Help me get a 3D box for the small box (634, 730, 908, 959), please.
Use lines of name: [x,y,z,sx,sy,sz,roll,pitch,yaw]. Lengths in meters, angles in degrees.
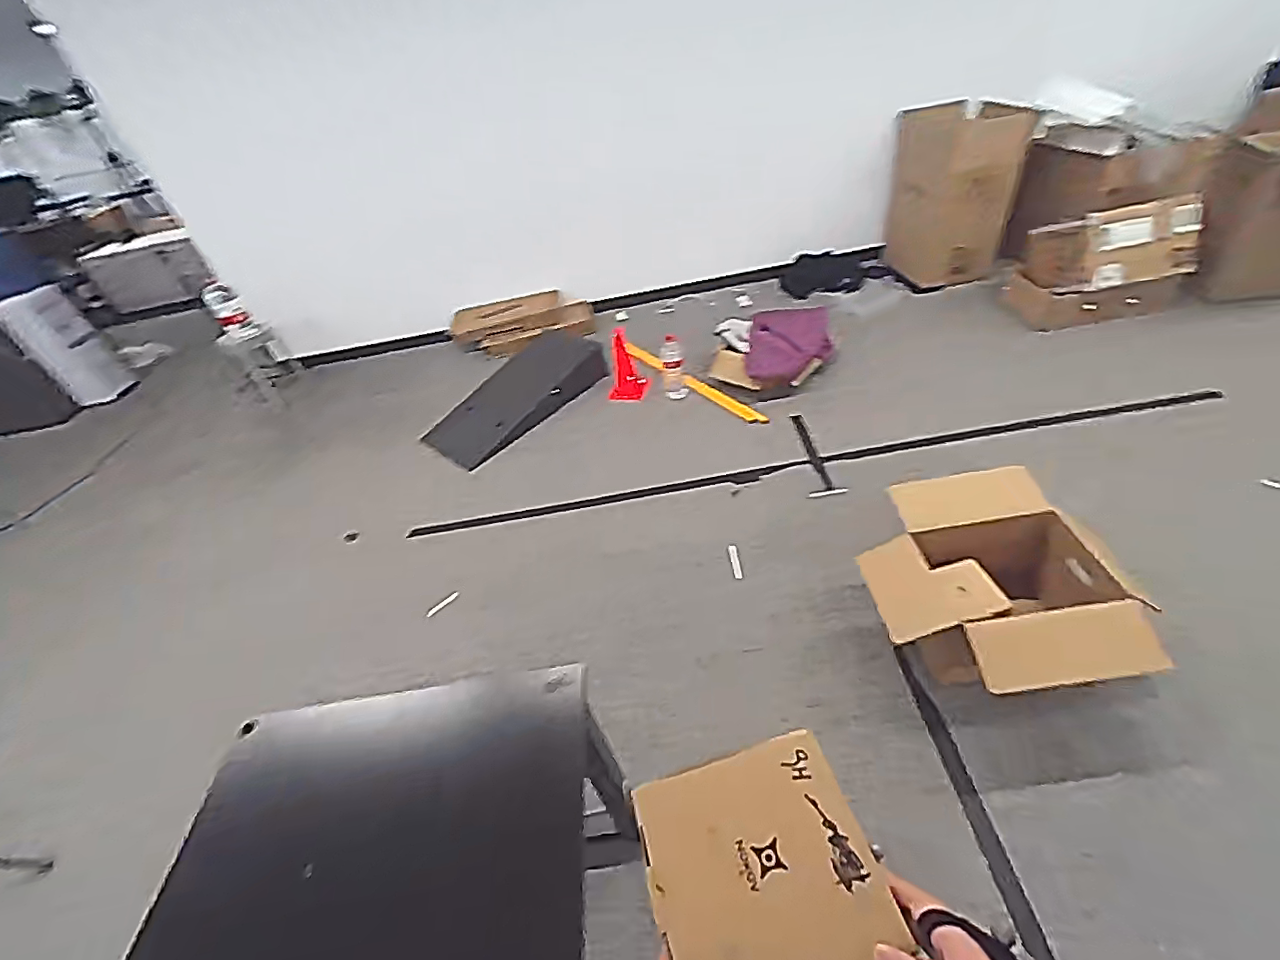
small box: [0.108,0.365,0.495,0.179,0.176,0.168,-17,44,-3]
